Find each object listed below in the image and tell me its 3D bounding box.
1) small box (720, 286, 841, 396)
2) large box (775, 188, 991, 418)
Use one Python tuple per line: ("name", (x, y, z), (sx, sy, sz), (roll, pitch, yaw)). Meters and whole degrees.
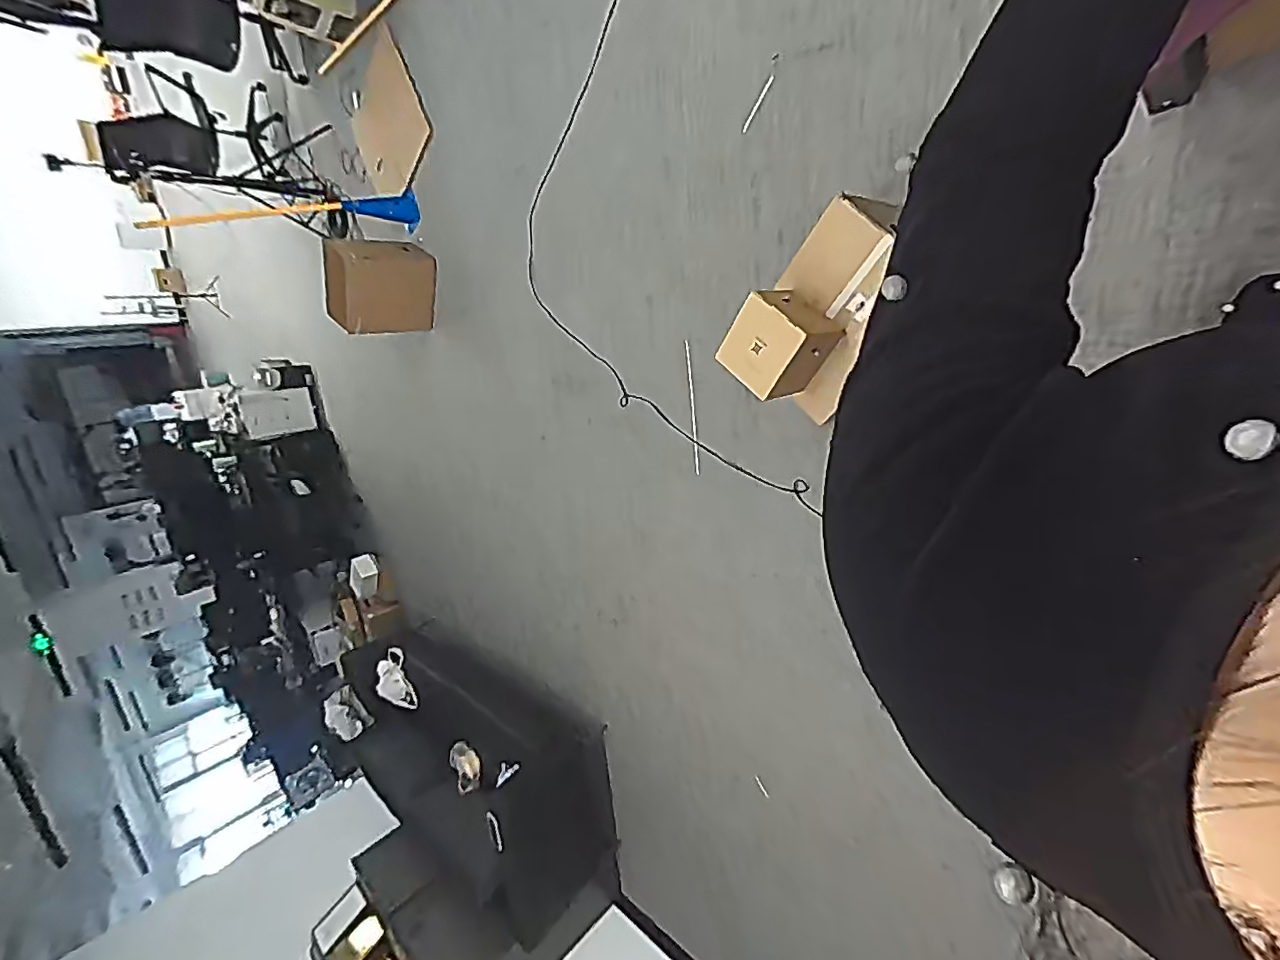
("small box", (0.320, -0.316, 1.213), (0.168, 0.176, 0.179), (49, 135, 23))
("large box", (0.538, -0.417, 1.315), (0.320, 0.320, 0.408), (50, 134, 19))
